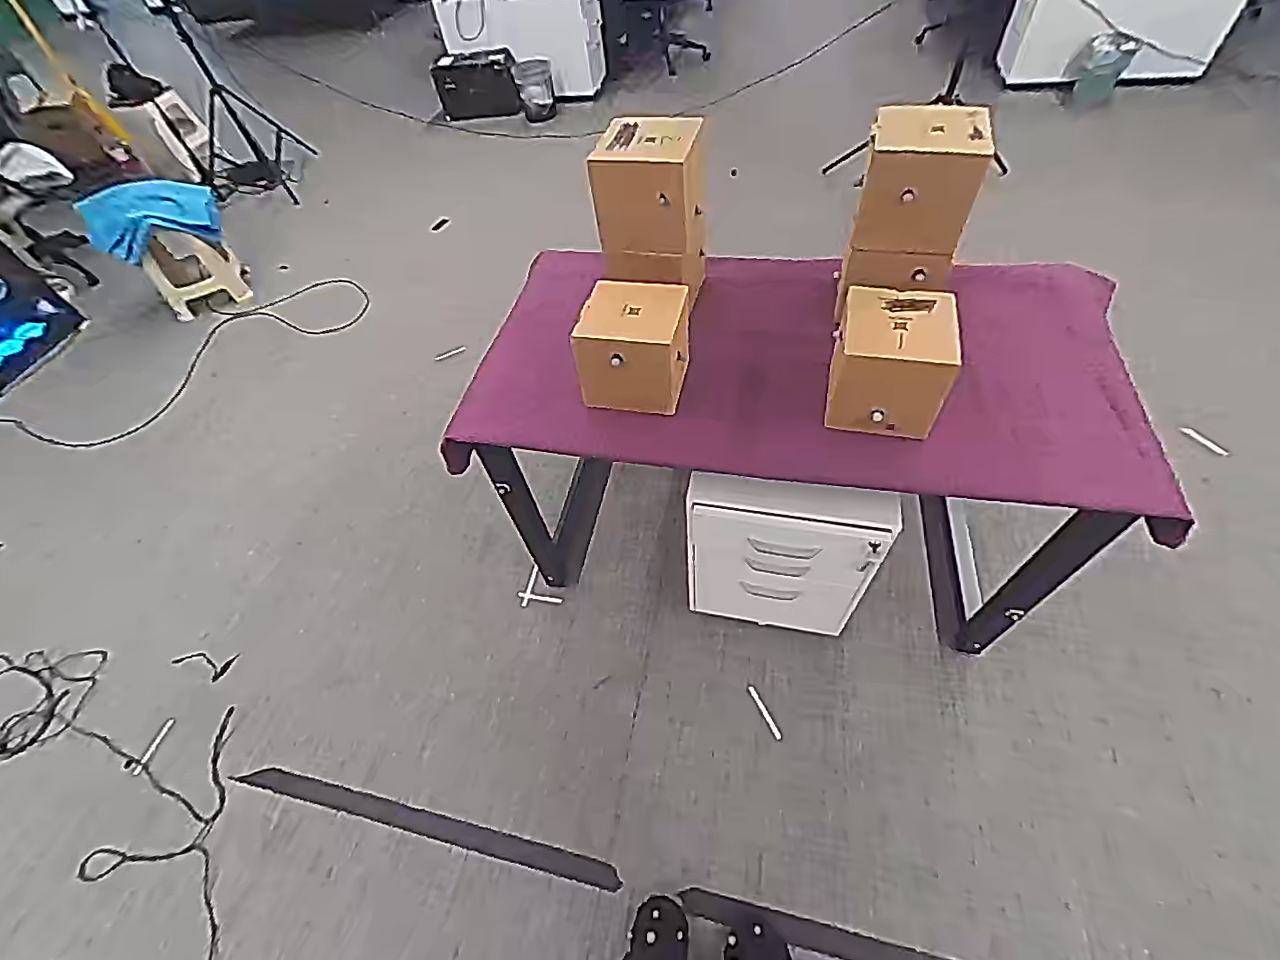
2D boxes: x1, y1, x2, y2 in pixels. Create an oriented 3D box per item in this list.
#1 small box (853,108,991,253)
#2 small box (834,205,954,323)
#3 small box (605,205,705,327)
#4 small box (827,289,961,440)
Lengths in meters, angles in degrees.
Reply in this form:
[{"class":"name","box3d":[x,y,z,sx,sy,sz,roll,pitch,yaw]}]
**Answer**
[{"class":"small box","box3d":[0.478,-0.516,0.939,0.179,0.176,0.168,10,57,15]},{"class":"small box","box3d":[0.496,-0.419,1.069,0.179,0.176,0.168,9,56,14]},{"class":"small box","box3d":[0.040,-0.456,1.154,0.168,0.176,0.179,11,58,16]},{"class":"small box","box3d":[0.418,-0.195,0.913,0.168,0.176,0.179,9,55,14]}]
